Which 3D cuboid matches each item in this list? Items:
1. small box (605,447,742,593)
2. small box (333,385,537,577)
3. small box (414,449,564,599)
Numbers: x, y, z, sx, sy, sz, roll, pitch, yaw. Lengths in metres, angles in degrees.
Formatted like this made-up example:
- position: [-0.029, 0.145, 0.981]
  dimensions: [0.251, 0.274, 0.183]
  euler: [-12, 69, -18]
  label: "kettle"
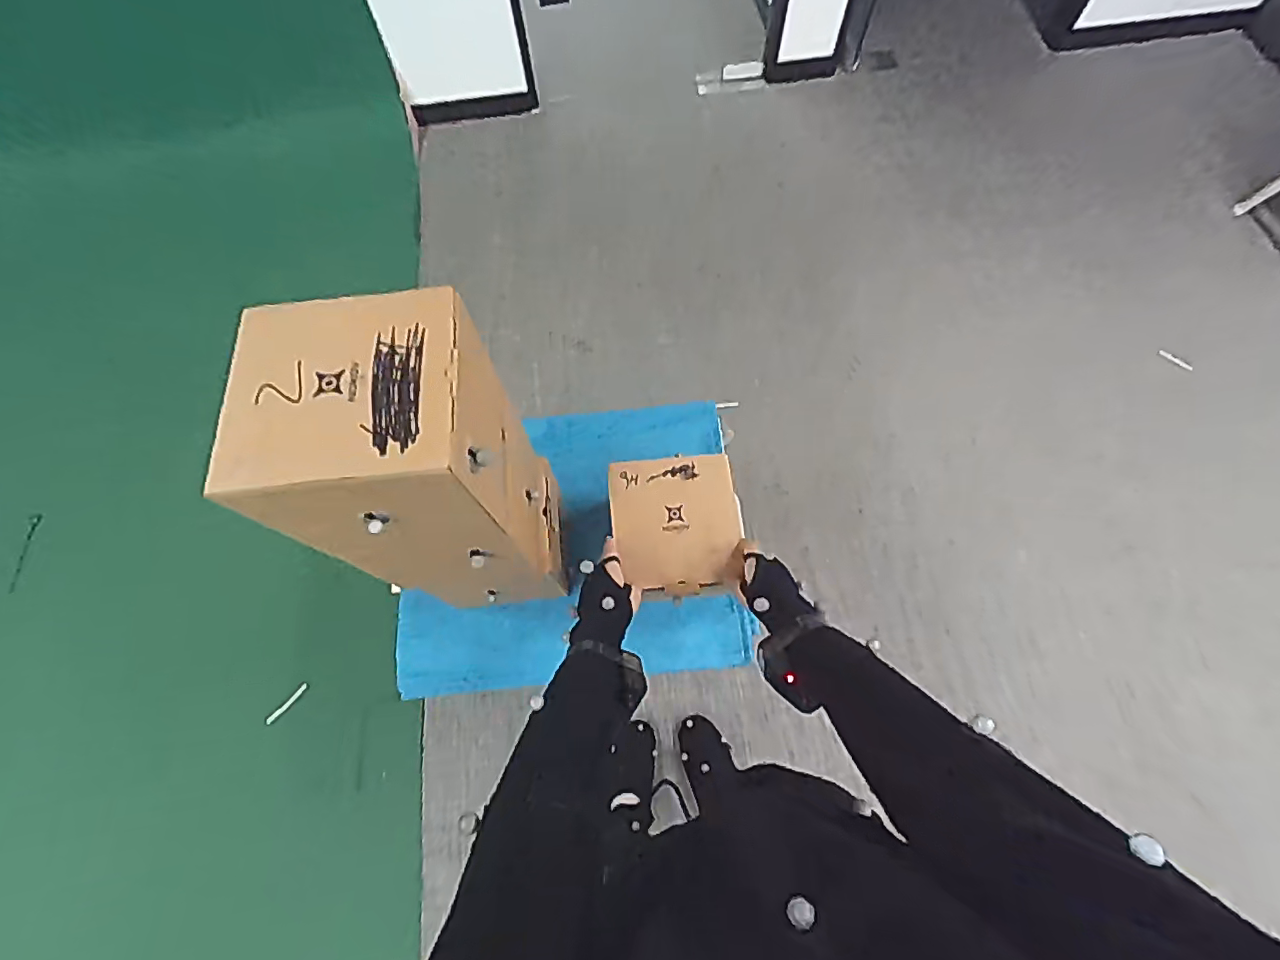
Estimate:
- position: [0.042, 0.066, 0.770]
  dimensions: [0.168, 0.176, 0.179]
  euler: [-5, 73, -2]
  label: "small box"
- position: [-0.217, 0.009, 0.628]
  dimensions: [0.179, 0.176, 0.168]
  euler: [-6, 67, -1]
  label: "small box"
- position: [-0.205, 0.070, 0.780]
  dimensions: [0.179, 0.176, 0.168]
  euler: [-6, 67, -1]
  label: "small box"
